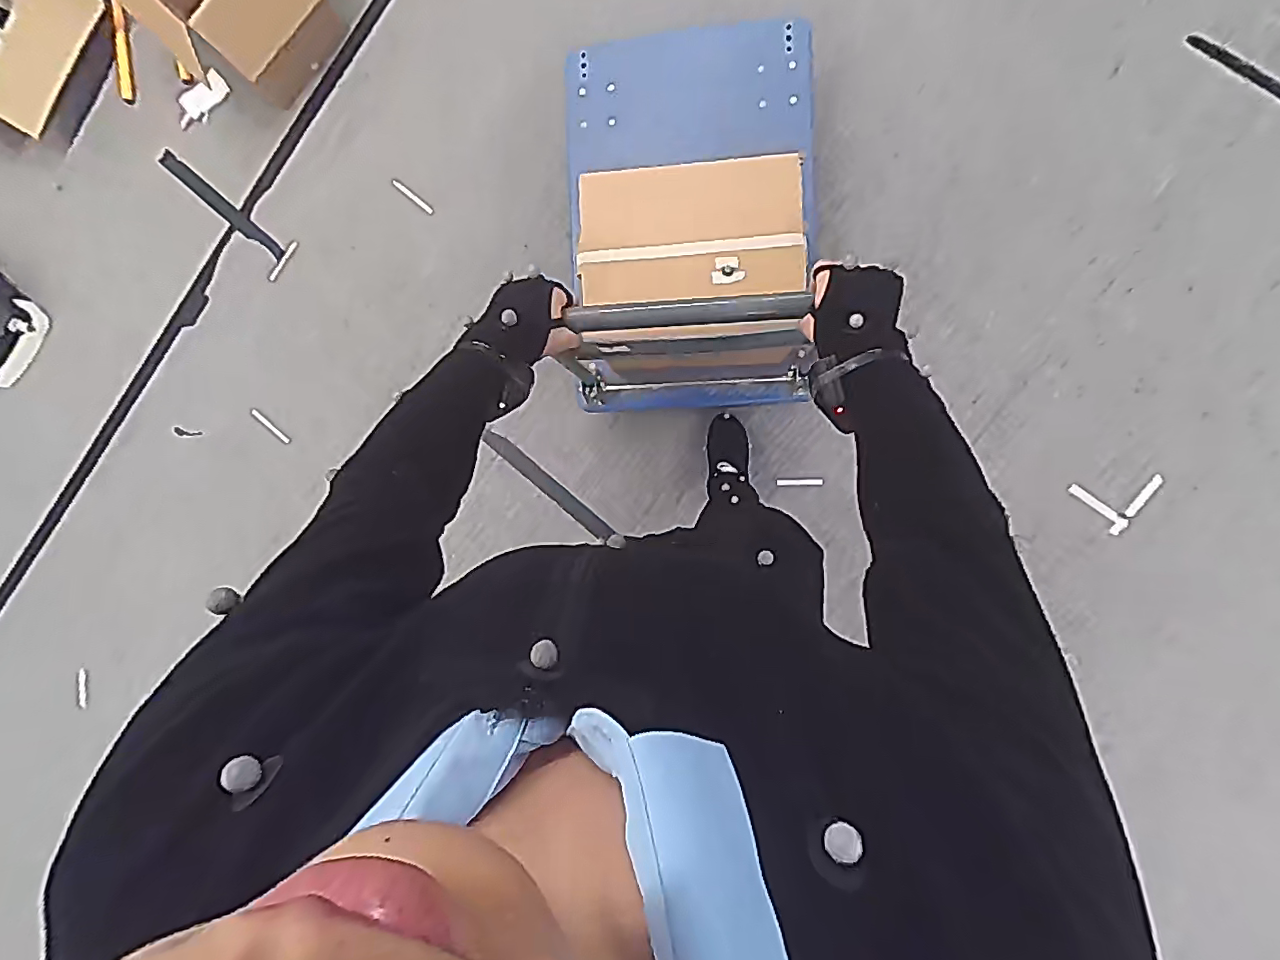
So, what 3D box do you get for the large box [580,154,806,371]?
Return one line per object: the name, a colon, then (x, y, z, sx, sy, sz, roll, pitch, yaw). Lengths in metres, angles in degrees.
large box: (0.106, -0.422, 1.132, 0.408, 0.320, 0.320, -2, 91, 6)
